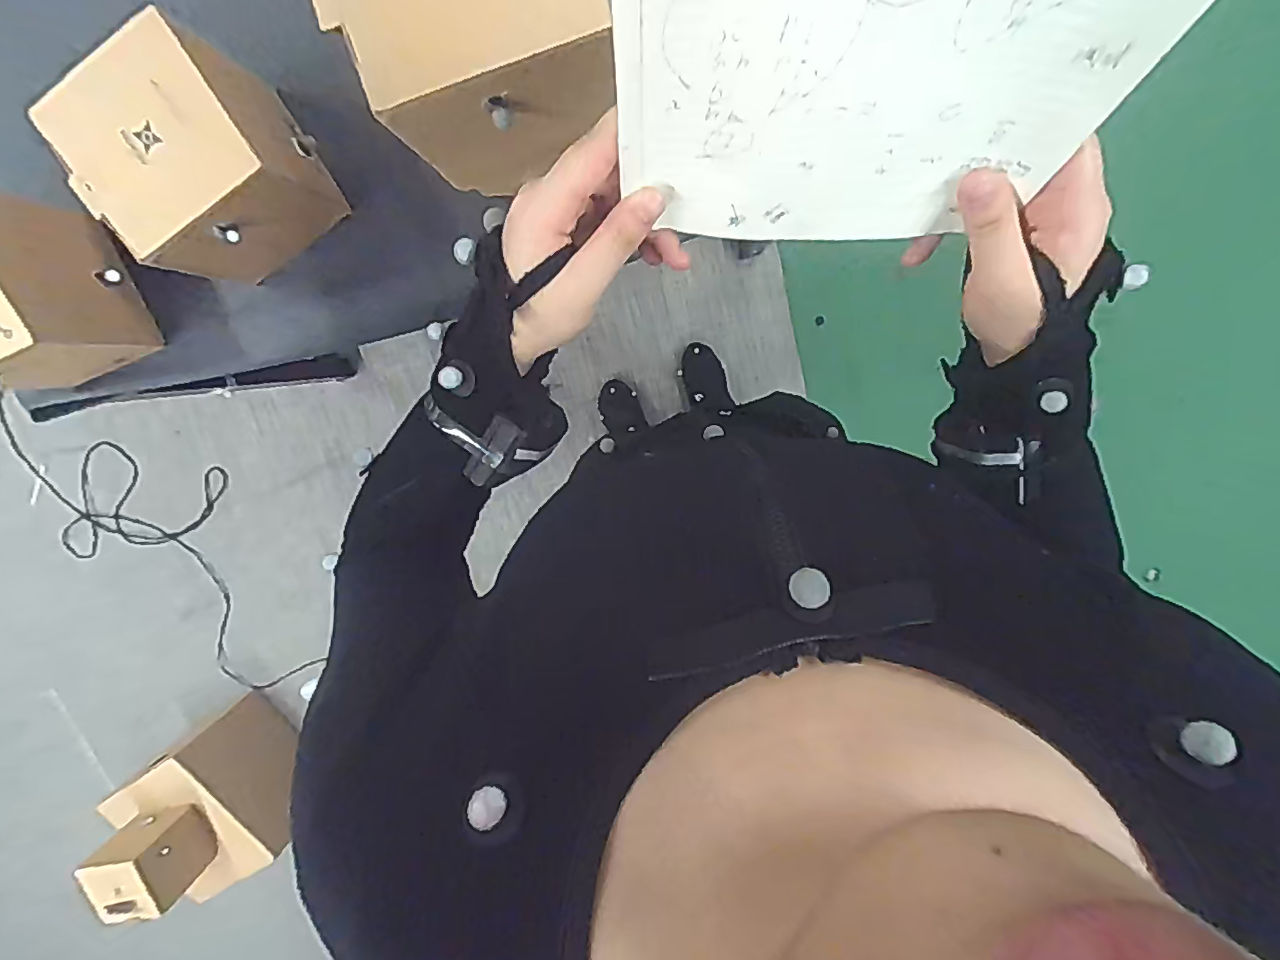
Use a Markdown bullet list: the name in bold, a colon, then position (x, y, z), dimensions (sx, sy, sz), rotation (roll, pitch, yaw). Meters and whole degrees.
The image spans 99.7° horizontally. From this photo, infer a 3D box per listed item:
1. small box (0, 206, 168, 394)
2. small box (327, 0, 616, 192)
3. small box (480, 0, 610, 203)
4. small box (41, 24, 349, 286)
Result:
- **small box**: position (-0.754, -0.210, 0.662), dimensions (0.168, 0.176, 0.179), rotation (-20, 101, 7)
- **small box**: position (-0.123, -0.360, 0.431), dimensions (0.179, 0.176, 0.168), rotation (-15, 101, 7)
- **small box**: position (-0.123, -0.418, 0.584), dimensions (0.168, 0.176, 0.179), rotation (1, 103, 3)
- **small box**: position (-0.486, -0.345, 0.621), dimensions (0.179, 0.176, 0.168), rotation (-31, 100, 8)
